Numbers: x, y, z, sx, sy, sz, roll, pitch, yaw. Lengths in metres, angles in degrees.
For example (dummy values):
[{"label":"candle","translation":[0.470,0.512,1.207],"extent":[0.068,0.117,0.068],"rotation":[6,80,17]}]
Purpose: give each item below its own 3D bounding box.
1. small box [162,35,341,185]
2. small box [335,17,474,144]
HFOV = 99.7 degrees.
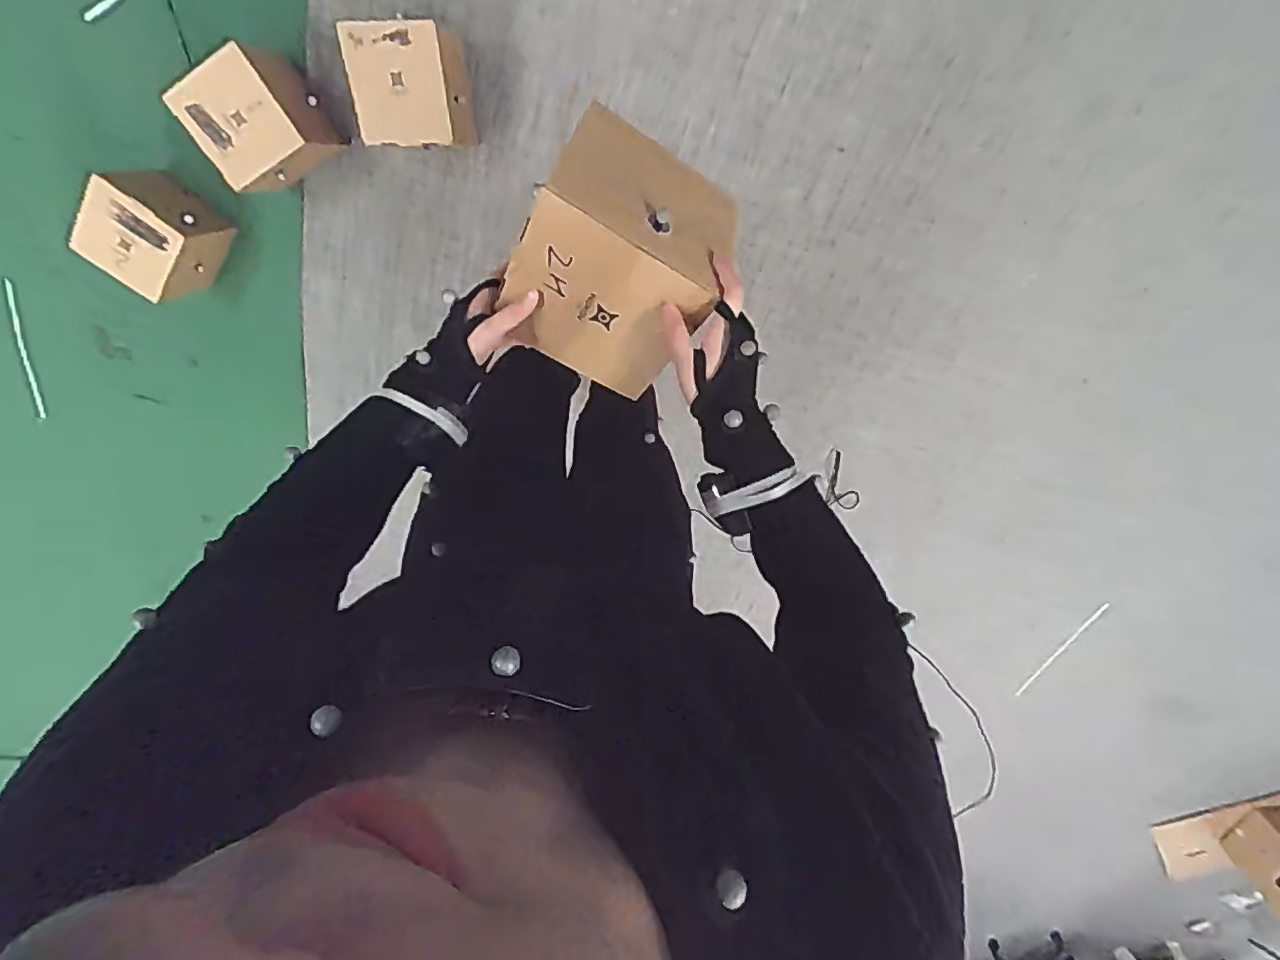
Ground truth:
[{"label":"small box","translation":[-0.710,-0.678,1.013],"extent":[0.179,0.176,0.168],"rotation":[-24,118,12]},{"label":"small box","translation":[-0.414,-0.720,0.989],"extent":[0.168,0.176,0.179],"rotation":[0,122,0]}]
